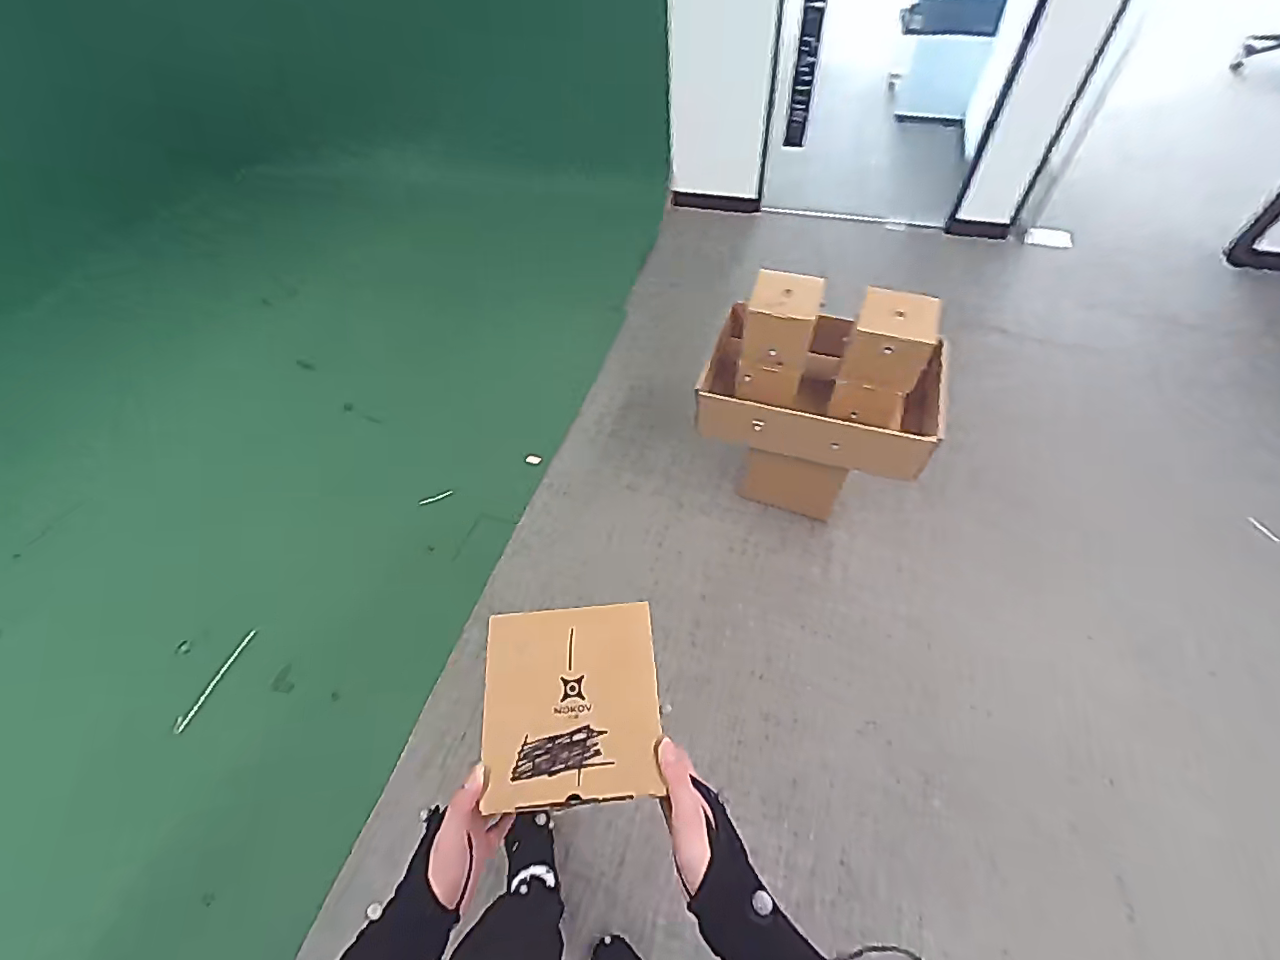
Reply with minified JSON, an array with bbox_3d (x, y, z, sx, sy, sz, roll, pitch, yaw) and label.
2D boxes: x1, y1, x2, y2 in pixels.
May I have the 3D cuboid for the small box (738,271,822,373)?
[{"bbox_3d":[0.356,-0.406,1.394,0.168,0.176,0.179,14,57,13],"label":"small box"}]

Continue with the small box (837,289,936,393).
[{"bbox_3d":[0.603,-0.340,1.339,0.179,0.176,0.168,16,59,13],"label":"small box"}]

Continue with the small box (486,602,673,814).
[{"bbox_3d":[-0.057,0.243,0.574,0.168,0.176,0.179,-3,59,-3],"label":"small box"}]
